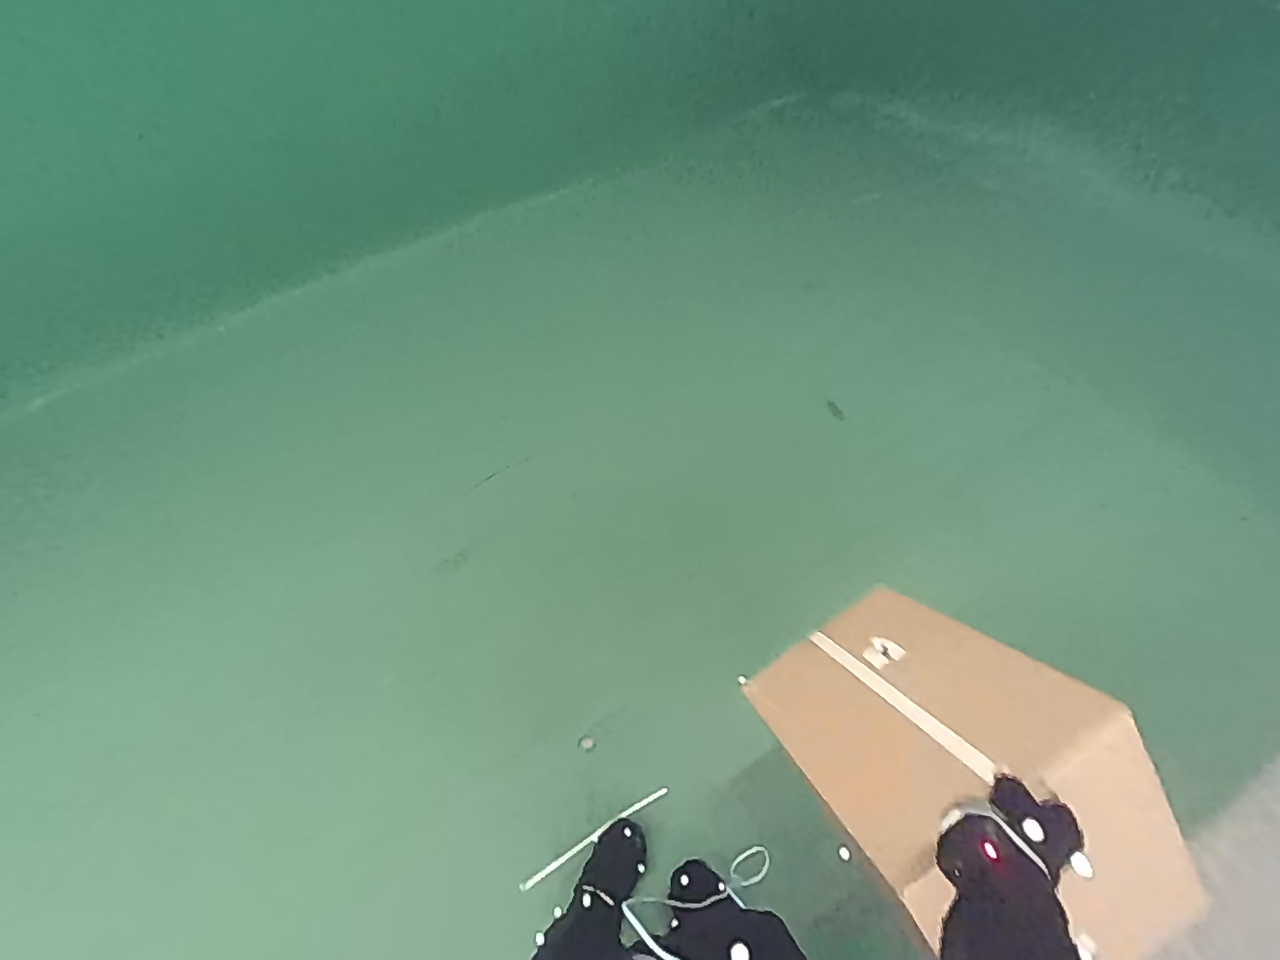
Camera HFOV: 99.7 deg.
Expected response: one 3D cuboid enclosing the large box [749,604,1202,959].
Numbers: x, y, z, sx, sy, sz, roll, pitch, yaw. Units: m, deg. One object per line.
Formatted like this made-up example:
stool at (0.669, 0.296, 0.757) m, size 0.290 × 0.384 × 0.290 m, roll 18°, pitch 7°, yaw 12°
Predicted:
large box at (0.430, 0.445, 0.781) m, size 0.320 × 0.408 × 0.320 m, roll -32°, pitch 101°, yaw -6°
